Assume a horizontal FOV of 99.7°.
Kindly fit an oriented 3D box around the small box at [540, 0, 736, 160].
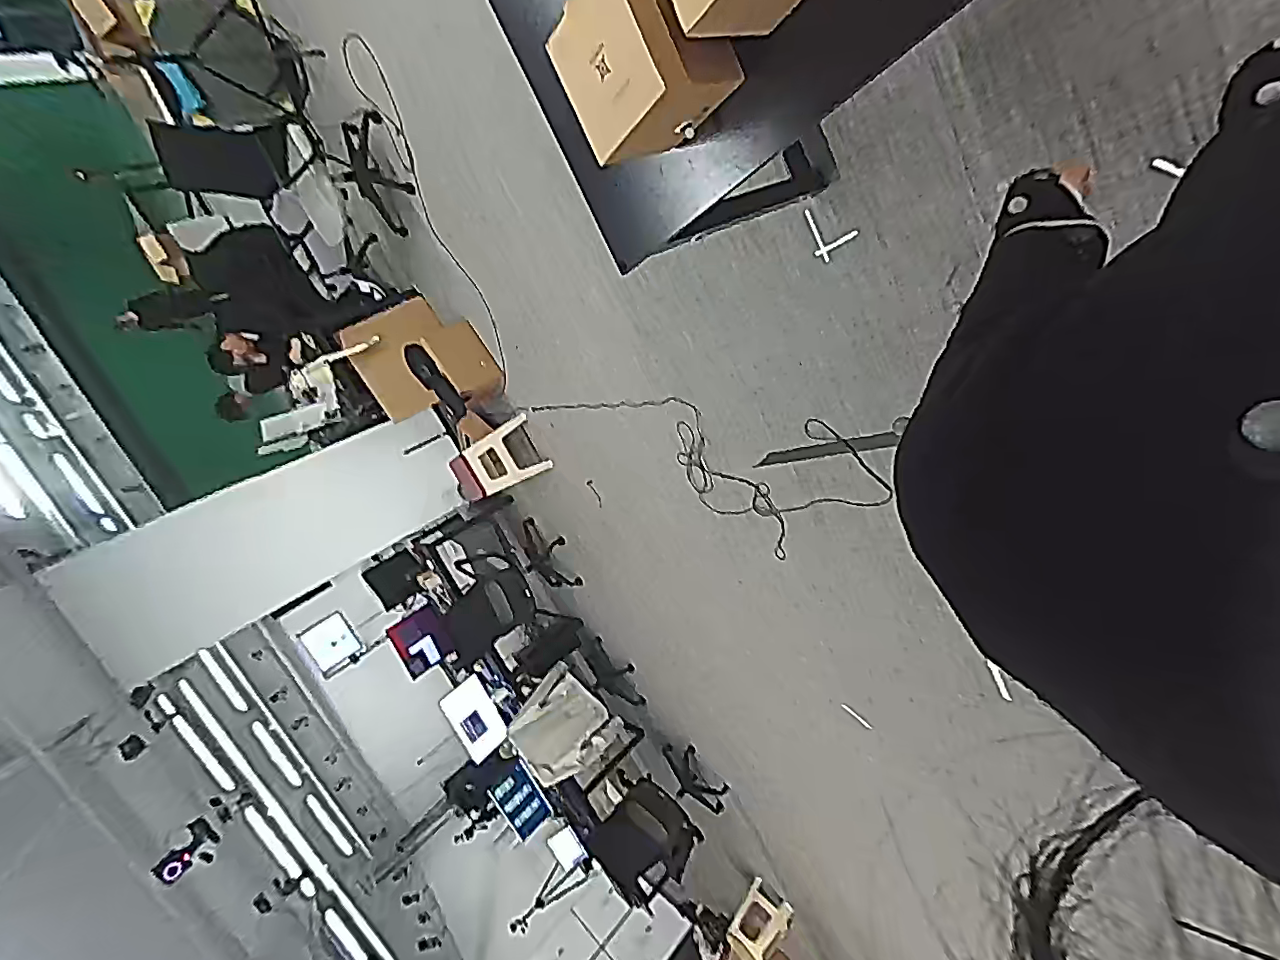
[{"bbox_3d":[-0.001,-0.584,0.746,0.168,0.176,0.179,-11,111,57],"label":"small box"}]
